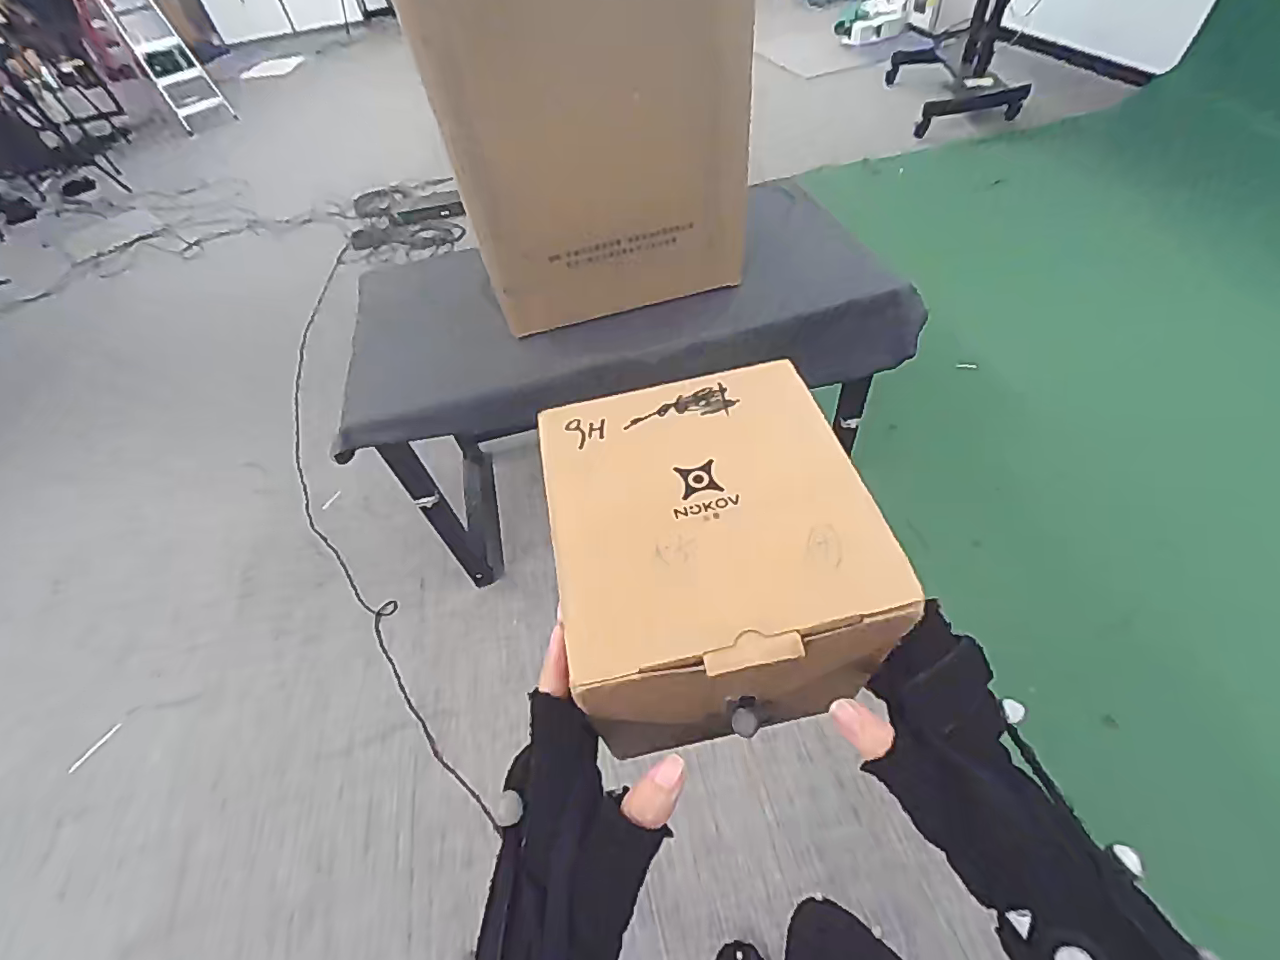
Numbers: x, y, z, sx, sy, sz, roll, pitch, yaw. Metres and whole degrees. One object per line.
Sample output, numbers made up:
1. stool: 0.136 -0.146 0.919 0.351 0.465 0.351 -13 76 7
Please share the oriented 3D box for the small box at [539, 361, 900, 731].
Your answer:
1. small box: 0.037 0.054 0.360 0.168 0.176 0.179 -11 54 -2
